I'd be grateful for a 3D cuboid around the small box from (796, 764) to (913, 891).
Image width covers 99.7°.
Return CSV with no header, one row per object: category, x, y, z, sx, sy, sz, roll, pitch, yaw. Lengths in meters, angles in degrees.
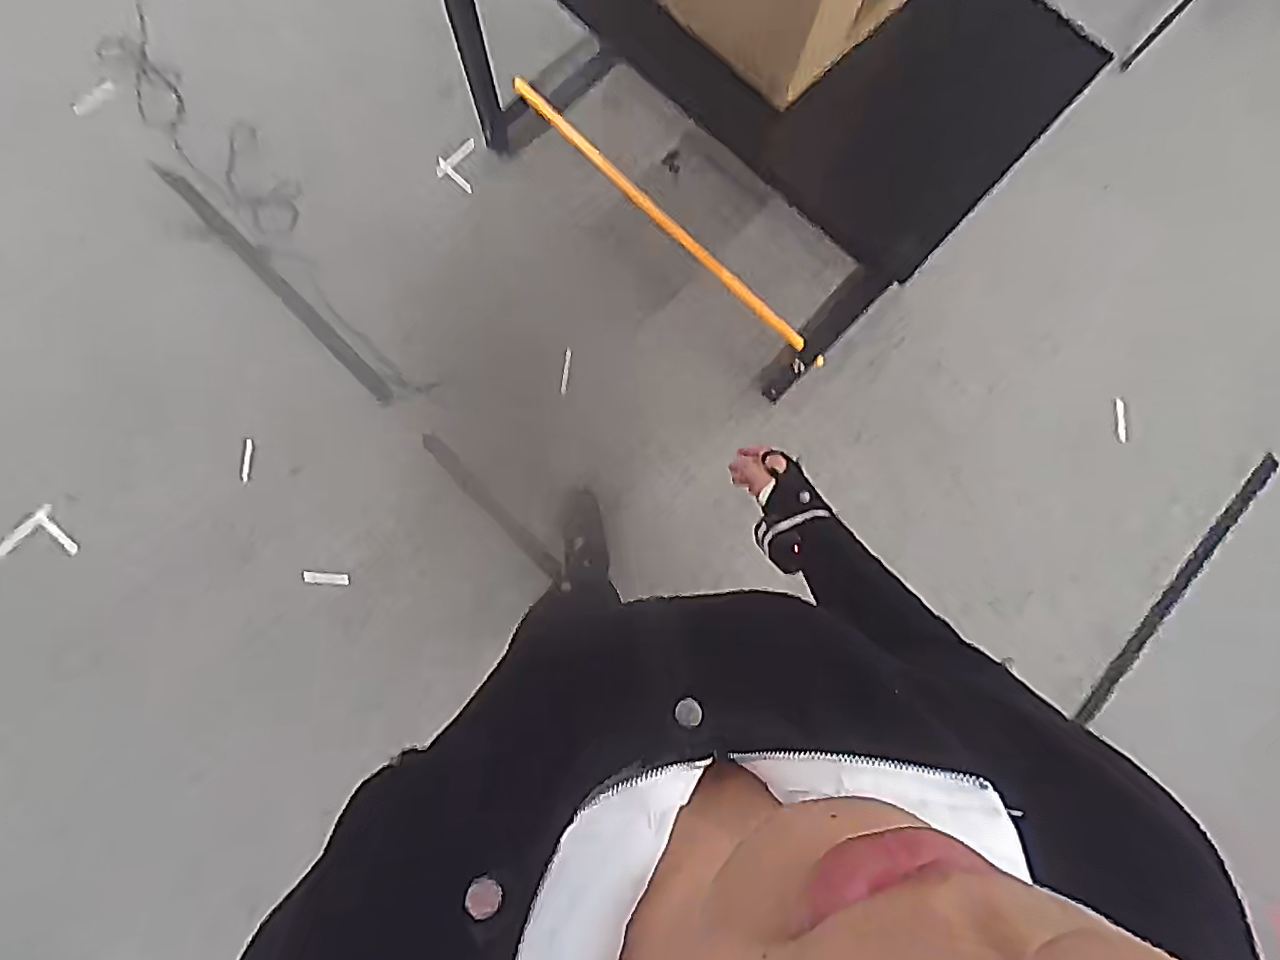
small box,0.523,0.849,1.344,0.179,0.176,0.168,44,81,5
